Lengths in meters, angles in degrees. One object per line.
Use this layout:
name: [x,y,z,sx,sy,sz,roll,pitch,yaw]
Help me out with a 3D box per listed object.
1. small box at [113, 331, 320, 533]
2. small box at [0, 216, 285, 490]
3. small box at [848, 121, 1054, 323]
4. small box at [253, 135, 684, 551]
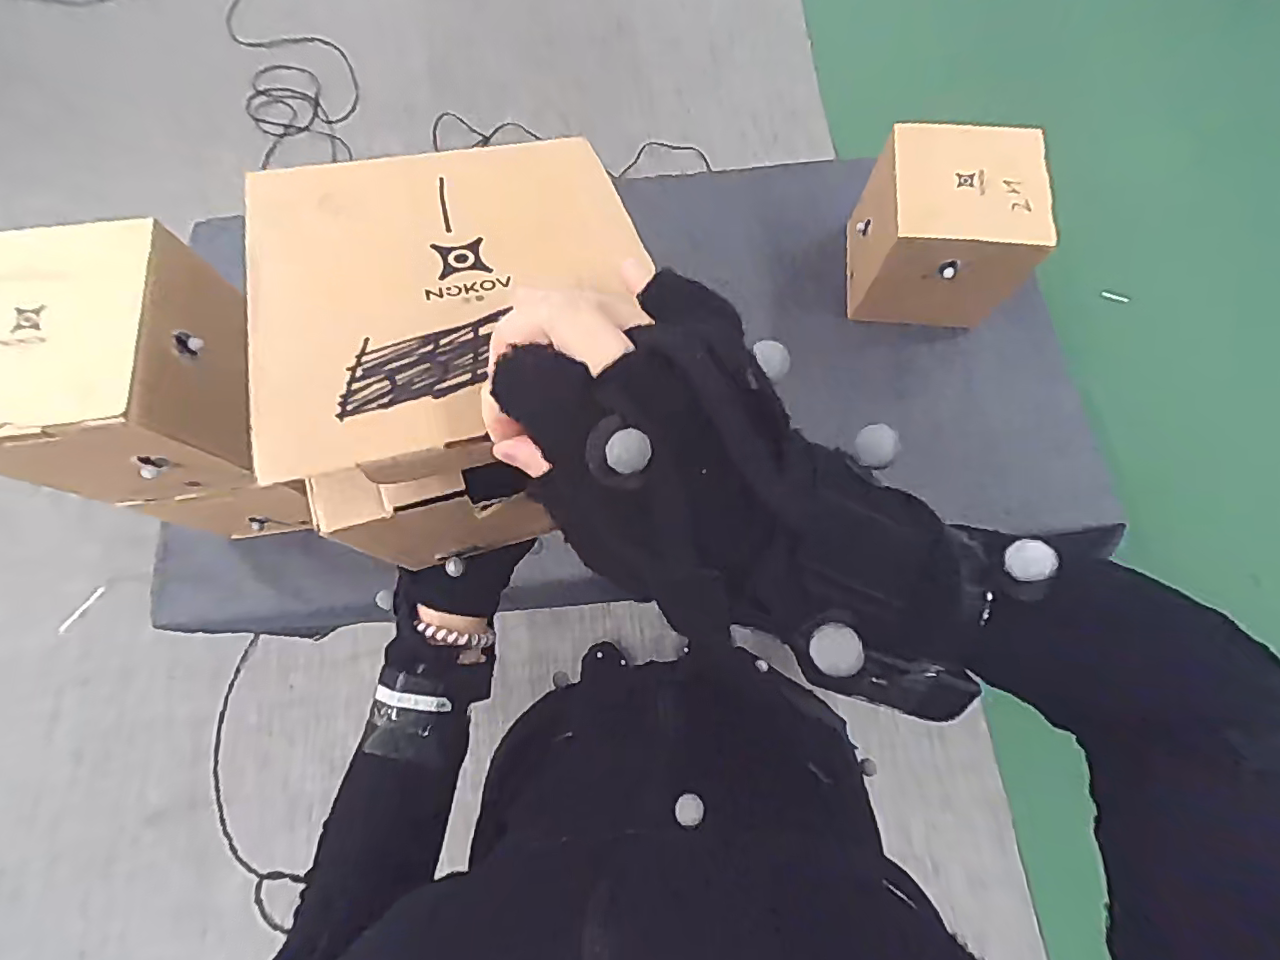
small box: [-0.445,-0.048,0.632,0.168,0.176,0.179,-8,74,-2]
small box: [-0.447,-0.095,0.476,0.168,0.176,0.179,-6,74,-2]
small box: [0.380,-0.320,0.696,0.179,0.176,0.168,6,75,2]
small box: [-0.090,-0.061,0.327,0.168,0.176,0.179,-15,78,-13]
